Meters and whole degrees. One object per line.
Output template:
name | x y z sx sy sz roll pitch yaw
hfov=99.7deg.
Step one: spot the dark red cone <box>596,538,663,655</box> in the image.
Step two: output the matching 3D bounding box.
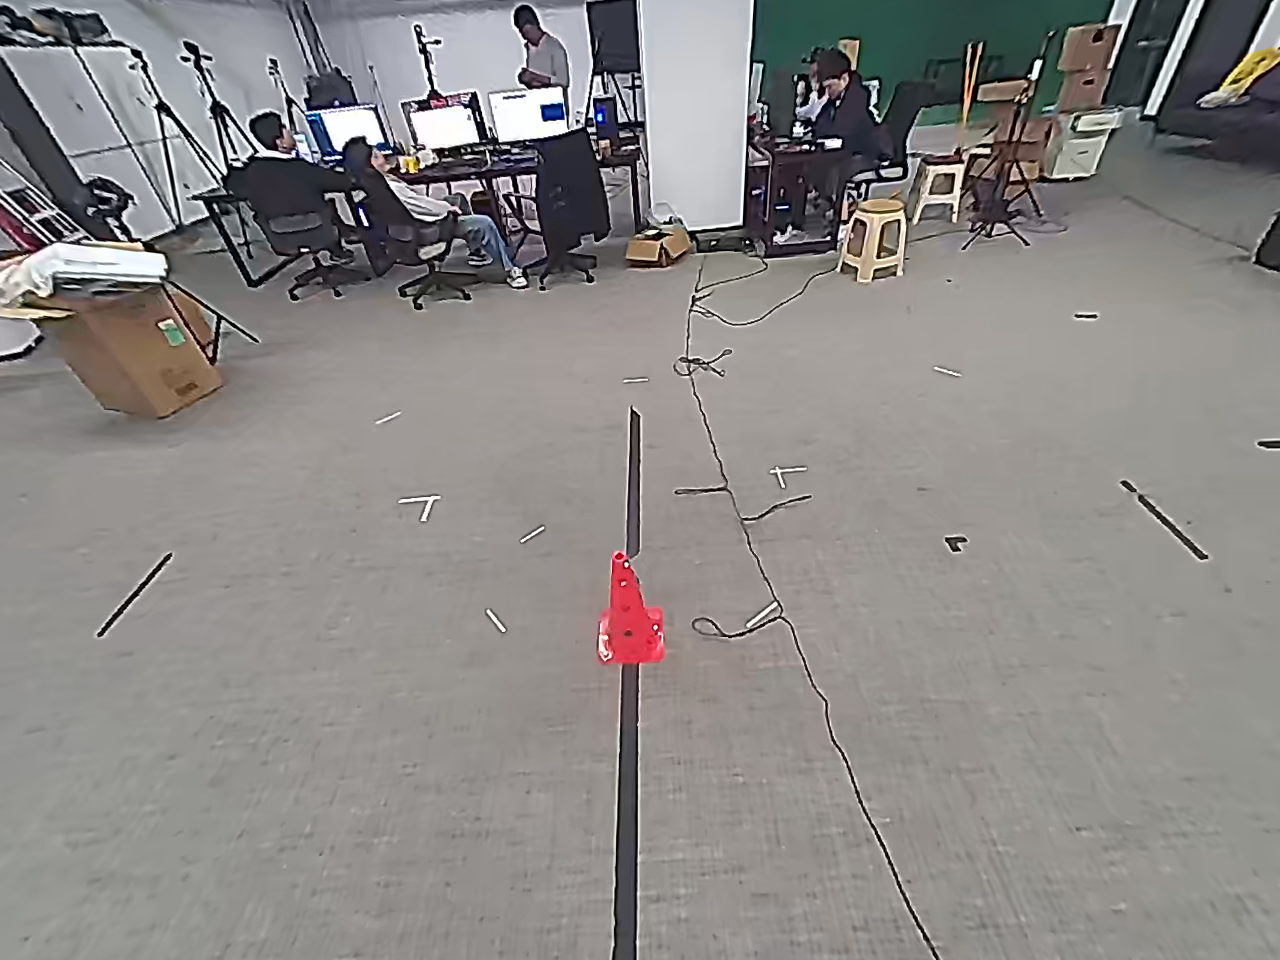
dark red cone | -0.042 0.323 1.557 0.201 0.394 0.202 -3 38 1
